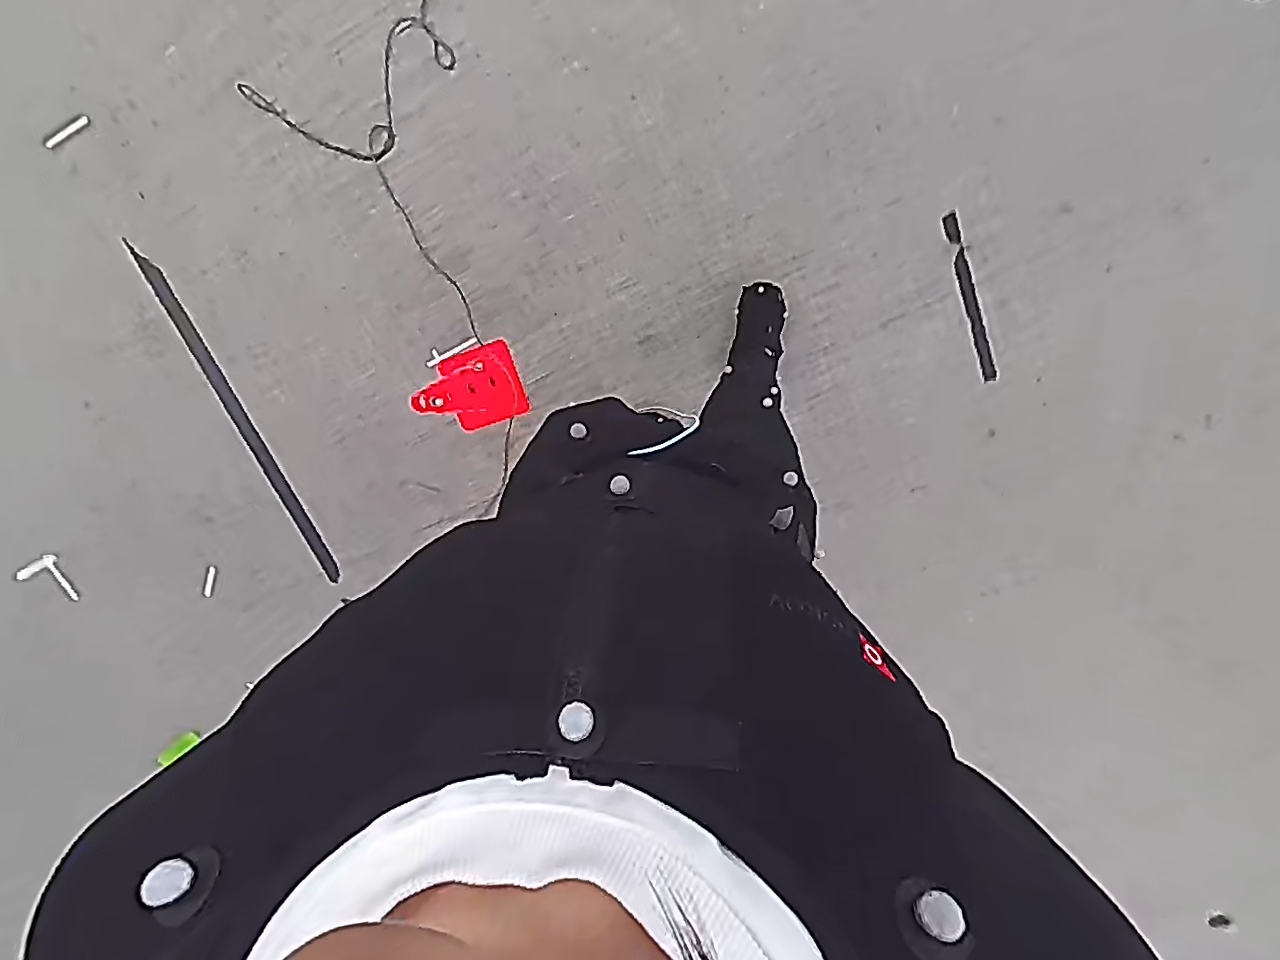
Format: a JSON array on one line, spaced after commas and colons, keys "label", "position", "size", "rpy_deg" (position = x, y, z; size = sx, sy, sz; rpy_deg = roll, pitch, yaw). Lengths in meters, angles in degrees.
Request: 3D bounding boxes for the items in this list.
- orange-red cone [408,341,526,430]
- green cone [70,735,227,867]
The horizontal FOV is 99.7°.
[{"label": "orange-red cone", "position": [-0.423, -0.196, 1.235], "size": [0.198, 0.360, 0.199], "rpy_deg": [-15, 104, 10]}, {"label": "green cone", "position": [-1.528, 1.009, 1.658], "size": [0.200, 0.368, 0.202], "rpy_deg": [-38, 97, 13]}]
